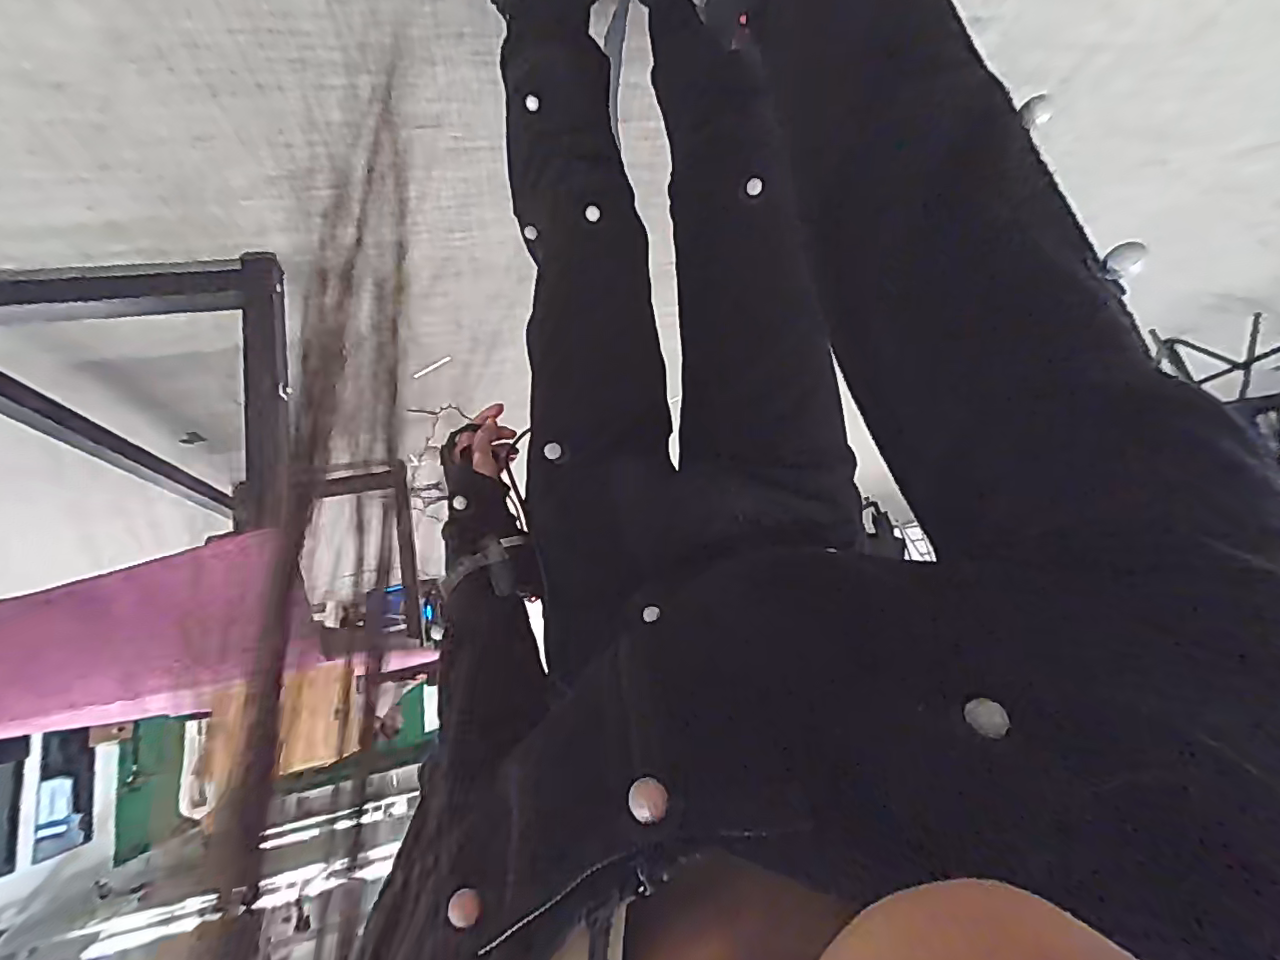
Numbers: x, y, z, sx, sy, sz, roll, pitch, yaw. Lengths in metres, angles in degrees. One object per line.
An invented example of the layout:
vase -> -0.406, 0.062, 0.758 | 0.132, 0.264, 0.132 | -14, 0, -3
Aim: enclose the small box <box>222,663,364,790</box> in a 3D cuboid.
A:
small box -> -0.632, 0.438, 0.994 | 0.179, 0.176, 0.168 | -9, 164, -11
